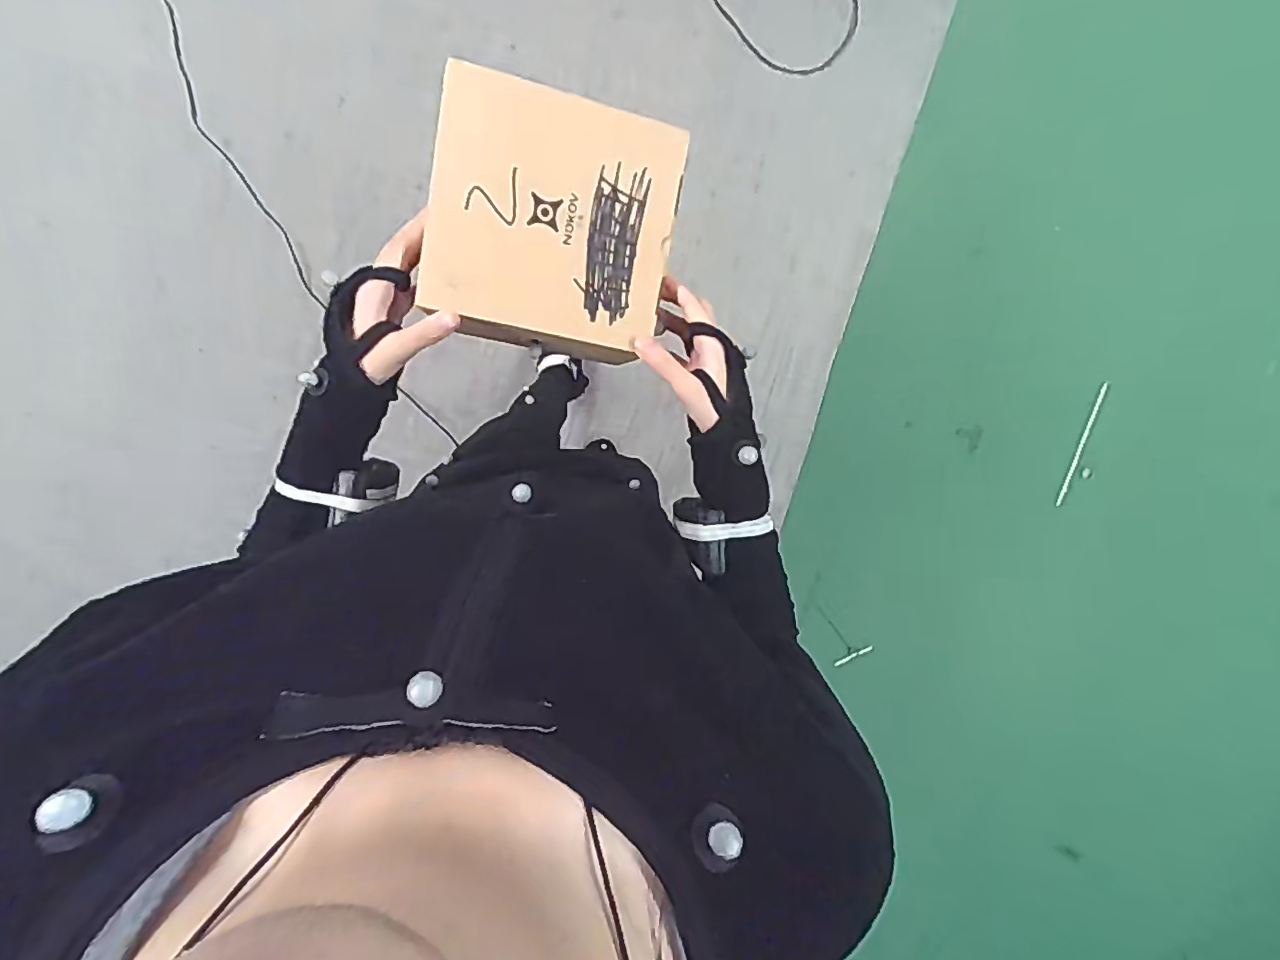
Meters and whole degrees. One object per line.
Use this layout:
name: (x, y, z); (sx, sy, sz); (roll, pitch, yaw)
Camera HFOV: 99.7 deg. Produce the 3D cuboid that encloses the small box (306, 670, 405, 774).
small box: (-0.767, 0.654, 1.475); (0.168, 0.176, 0.179); (17, 96, -5)
